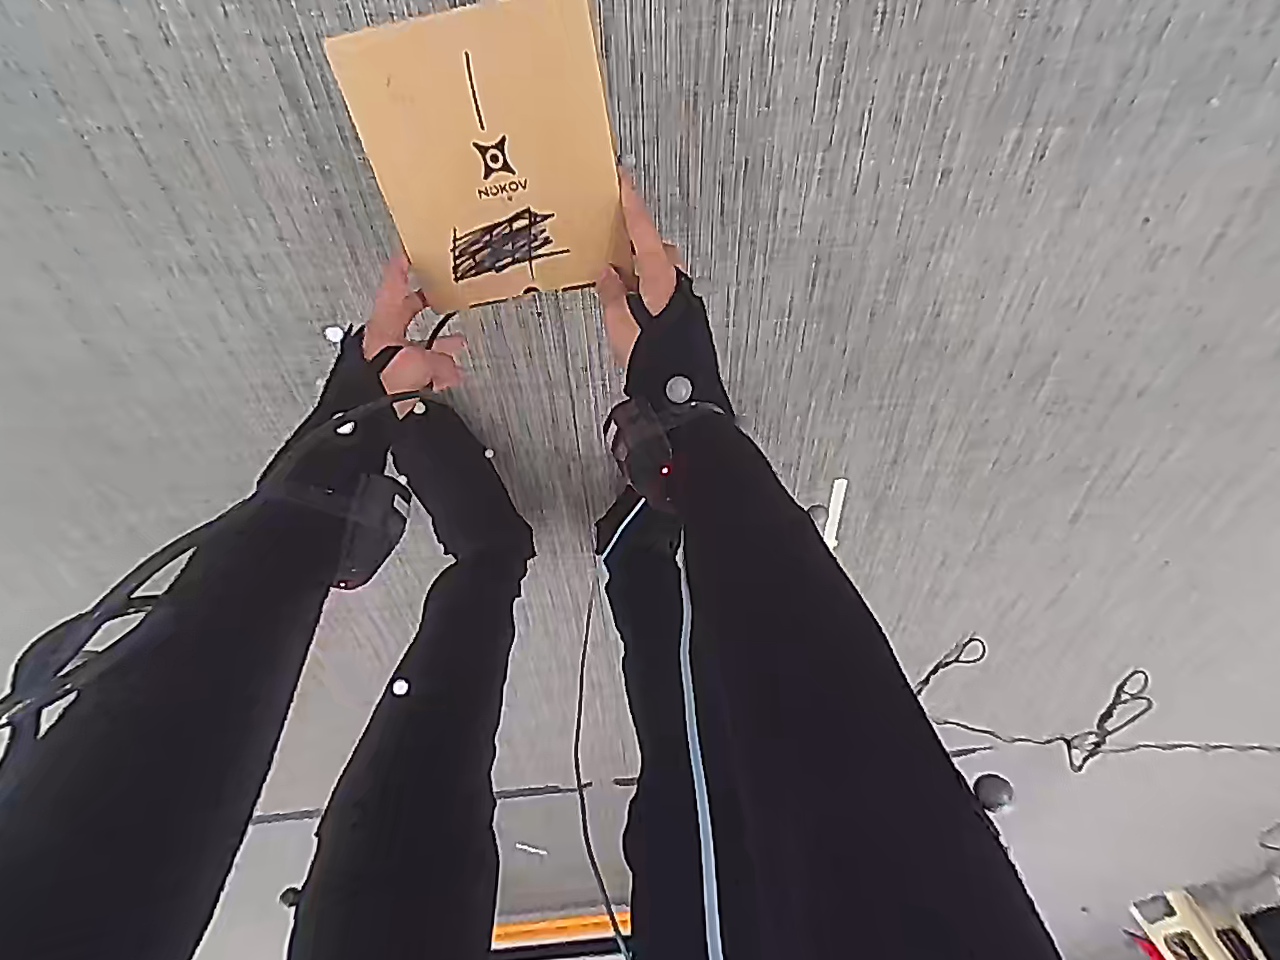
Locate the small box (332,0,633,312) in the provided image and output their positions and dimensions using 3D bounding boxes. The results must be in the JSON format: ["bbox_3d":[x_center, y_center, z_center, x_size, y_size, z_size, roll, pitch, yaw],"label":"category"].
[{"bbox_3d":[-0.098,-0.260,0.438,0.168,0.176,0.179,-9,125,4],"label":"small box"}]
